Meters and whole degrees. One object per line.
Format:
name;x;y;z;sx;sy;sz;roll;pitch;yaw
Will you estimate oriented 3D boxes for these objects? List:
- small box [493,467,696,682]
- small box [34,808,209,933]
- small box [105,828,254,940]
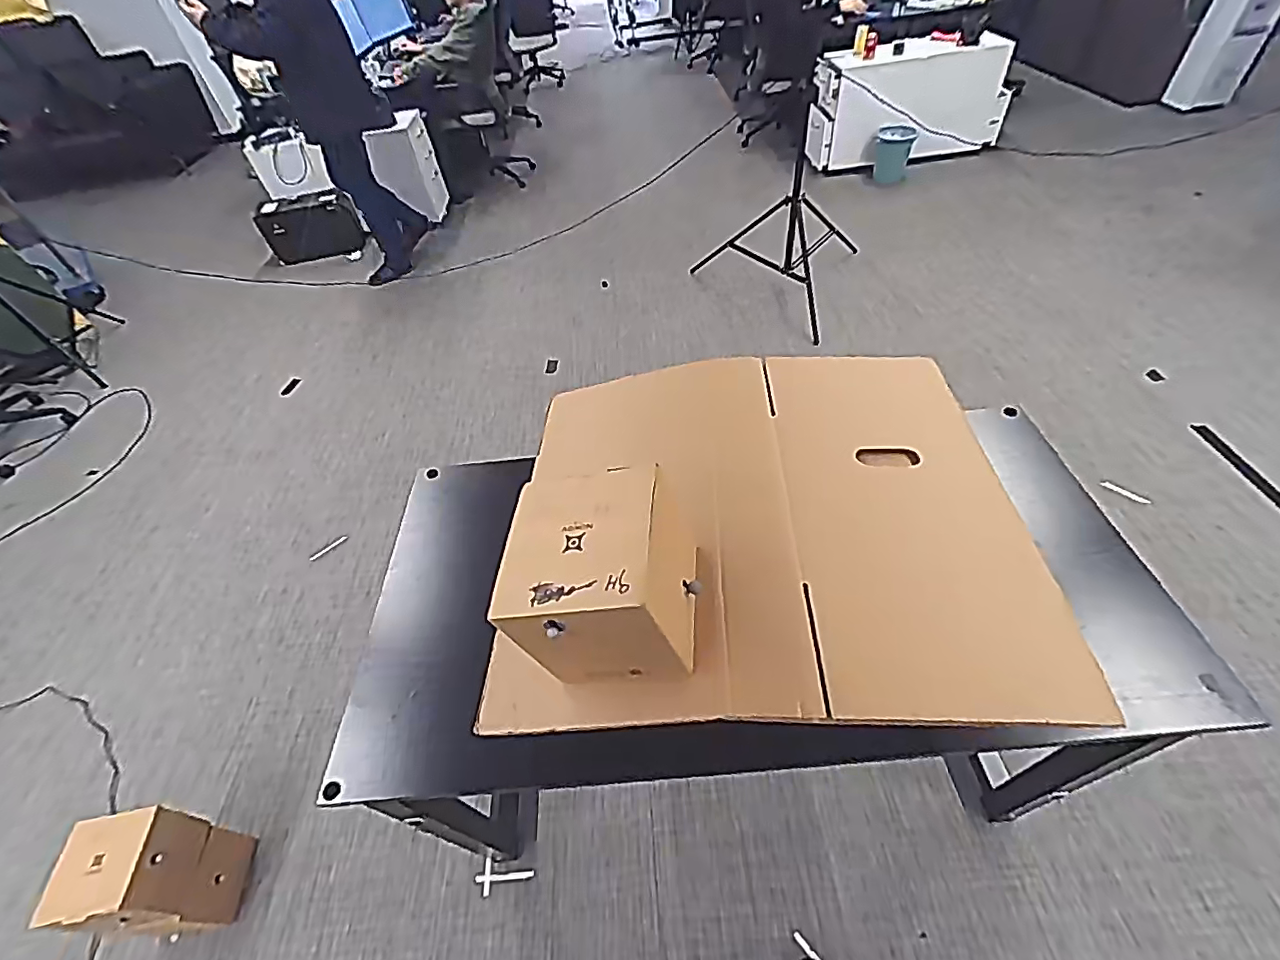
small box;-0.037;0.113;0.621;0.168;0.176;0.179;-10;46;18
small box;-1.044;0.807;1.112;0.168;0.176;0.179;-11;47;-3
small box;-1.026;0.919;1.229;0.168;0.176;0.179;-9;48;-1
